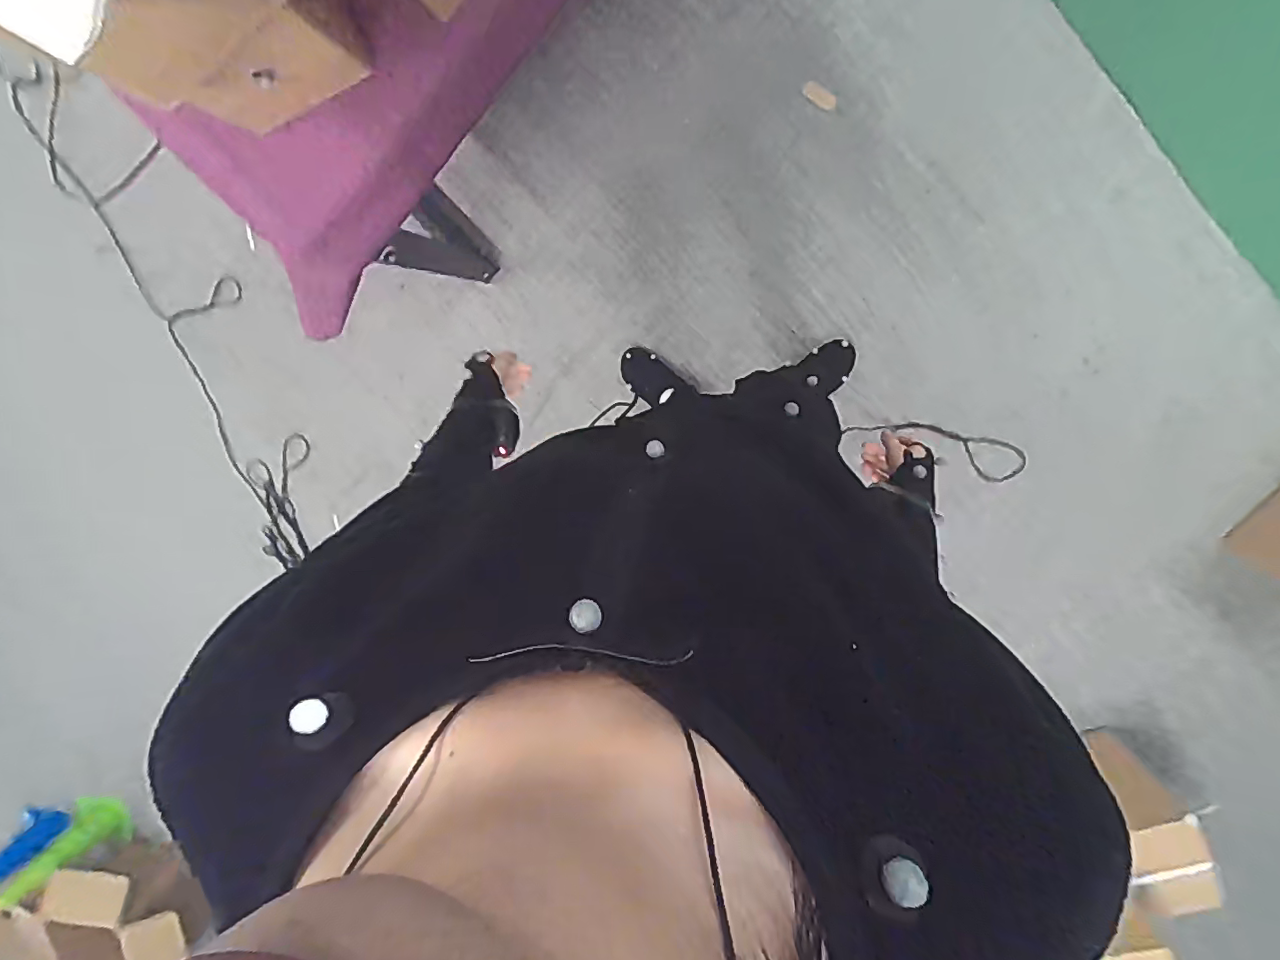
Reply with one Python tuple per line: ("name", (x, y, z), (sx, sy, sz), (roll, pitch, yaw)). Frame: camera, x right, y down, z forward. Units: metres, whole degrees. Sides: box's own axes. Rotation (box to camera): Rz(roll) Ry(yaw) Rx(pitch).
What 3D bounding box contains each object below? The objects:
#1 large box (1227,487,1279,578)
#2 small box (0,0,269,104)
("large box", (1.737, 0.118, 1.225), (0.320, 0.320, 0.408), (31, 105, -4))
("small box", (-0.449, -0.458, 0.435), (0.179, 0.176, 0.168), (-29, 101, 13))
